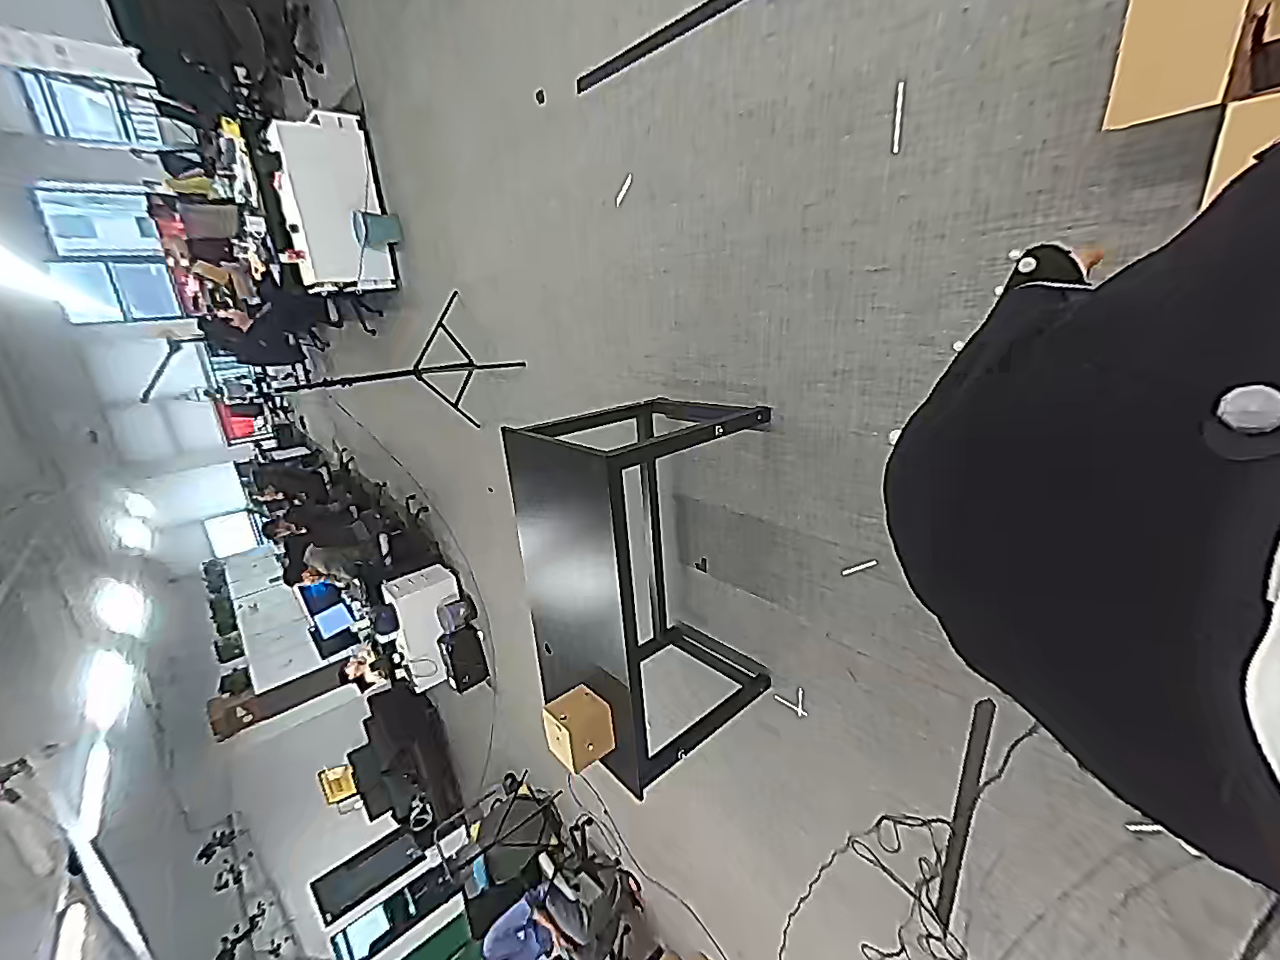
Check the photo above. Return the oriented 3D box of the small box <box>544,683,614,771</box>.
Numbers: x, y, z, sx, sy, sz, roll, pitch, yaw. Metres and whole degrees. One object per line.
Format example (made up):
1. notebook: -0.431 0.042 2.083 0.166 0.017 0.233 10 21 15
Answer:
1. small box: -0.201 0.826 1.823 0.168 0.176 0.179 15 117 49
